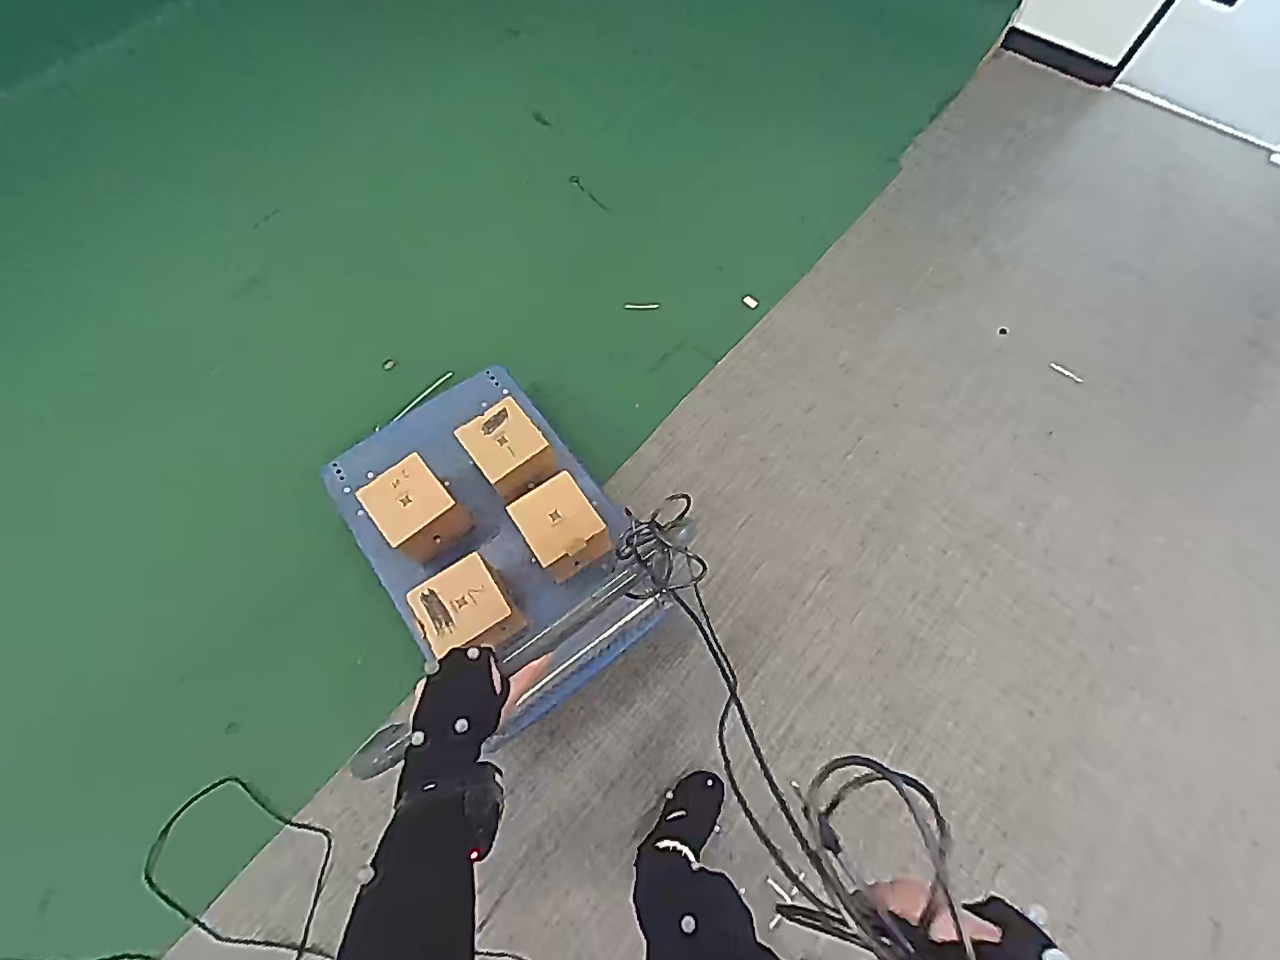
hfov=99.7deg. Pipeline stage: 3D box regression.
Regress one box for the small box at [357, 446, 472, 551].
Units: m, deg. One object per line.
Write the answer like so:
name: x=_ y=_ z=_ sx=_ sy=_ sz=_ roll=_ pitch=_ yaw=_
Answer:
small box: x=-0.537 y=0.056 z=1.313 sx=0.168 sy=0.176 sz=0.179 roll=-38 pitch=73 yaw=-14

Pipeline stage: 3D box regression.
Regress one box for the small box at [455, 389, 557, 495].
small box: x=-0.331 y=-0.088 z=1.366 sx=0.168 sy=0.176 sz=0.179 roll=-37 pitch=73 yaw=-12

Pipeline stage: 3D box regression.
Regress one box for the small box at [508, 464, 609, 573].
small box: x=-0.189 y=0.097 z=1.292 sx=0.168 sy=0.176 sz=0.179 roll=-33 pitch=72 yaw=-11
